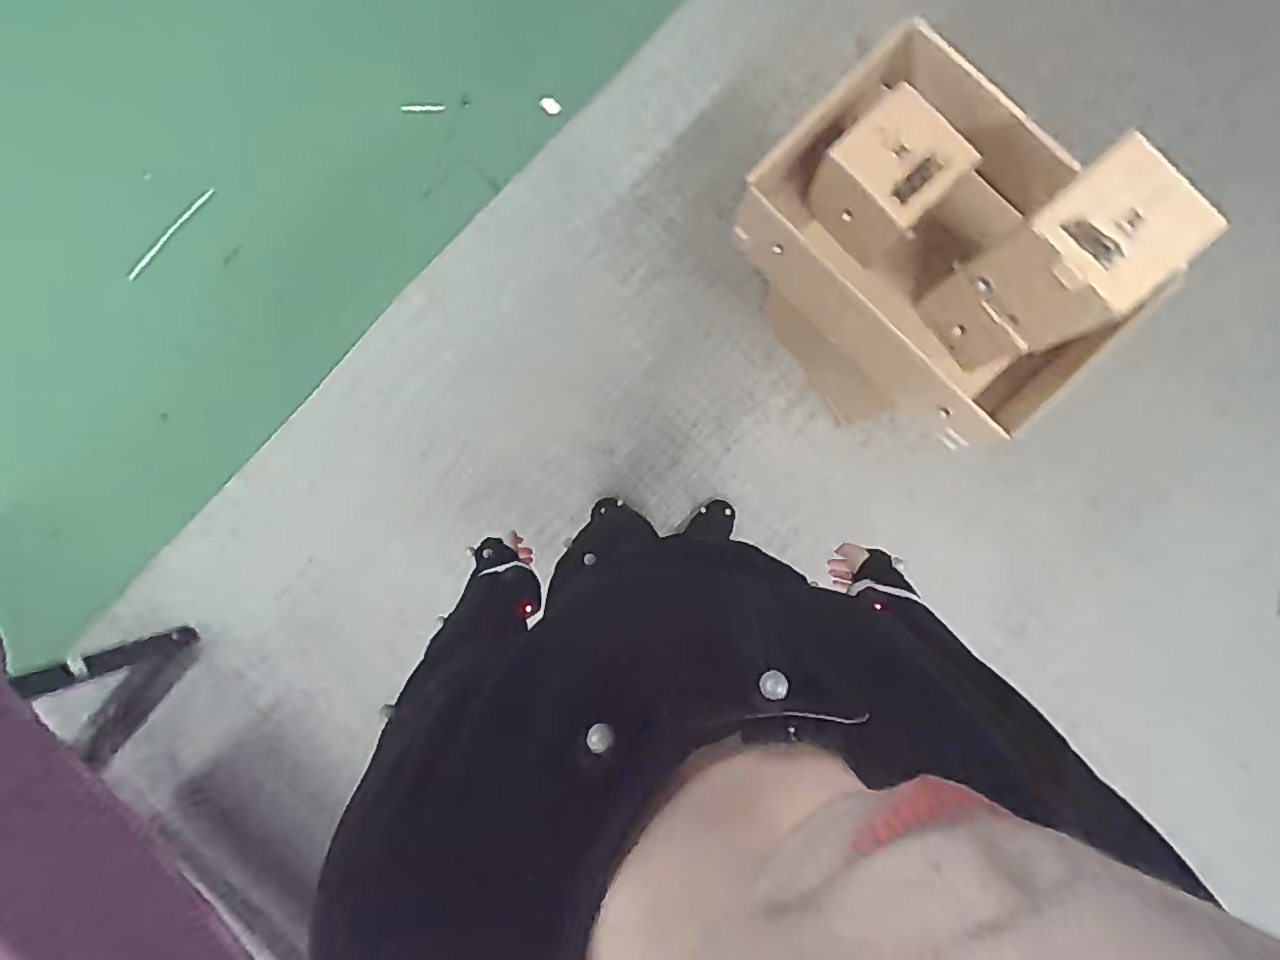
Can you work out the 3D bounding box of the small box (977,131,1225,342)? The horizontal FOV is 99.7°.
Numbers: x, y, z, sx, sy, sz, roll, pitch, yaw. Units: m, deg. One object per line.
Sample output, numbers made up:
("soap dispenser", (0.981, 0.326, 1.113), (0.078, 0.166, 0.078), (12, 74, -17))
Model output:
("small box", (0.617, -0.323, 0.759), (0.179, 0.176, 0.168), (-41, 88, 1))
